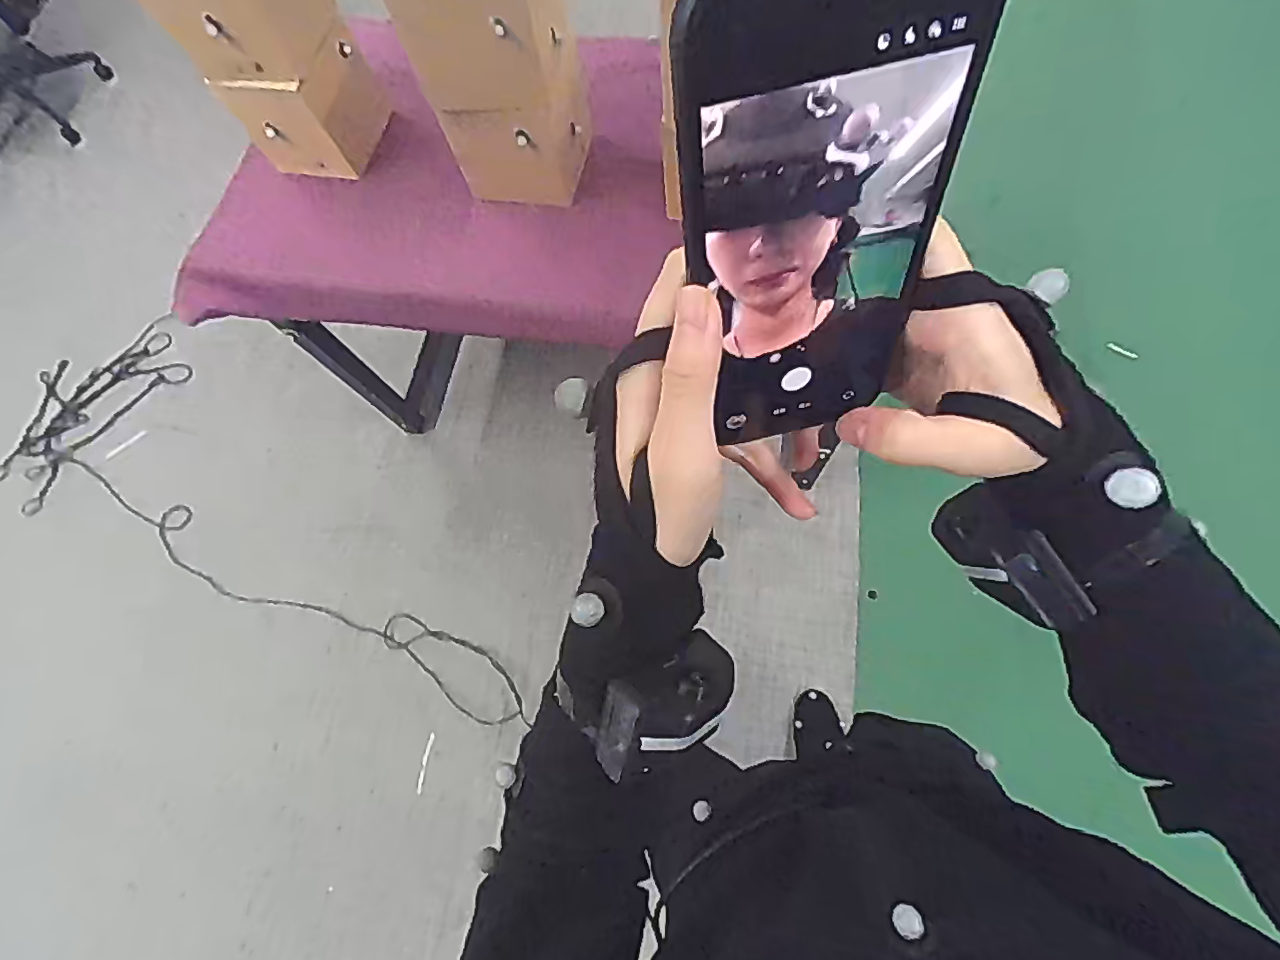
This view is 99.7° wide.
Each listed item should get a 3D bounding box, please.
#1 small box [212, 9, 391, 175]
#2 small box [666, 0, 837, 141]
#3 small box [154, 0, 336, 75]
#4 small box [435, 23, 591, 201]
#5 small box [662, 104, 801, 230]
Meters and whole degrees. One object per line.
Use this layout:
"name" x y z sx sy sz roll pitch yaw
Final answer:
"small box" -0.562 -0.659 0.926 0.168 0.176 0.179 10 72 9
"small box" 0.133 -0.542 0.644 0.179 0.176 0.168 15 73 10
"small box" -0.575 -0.720 0.774 0.168 0.176 0.179 6 72 7
"small box" -0.186 -0.575 0.859 0.179 0.176 0.168 10 72 9
"small box" 0.143 -0.504 0.803 0.179 0.176 0.168 16 73 11
